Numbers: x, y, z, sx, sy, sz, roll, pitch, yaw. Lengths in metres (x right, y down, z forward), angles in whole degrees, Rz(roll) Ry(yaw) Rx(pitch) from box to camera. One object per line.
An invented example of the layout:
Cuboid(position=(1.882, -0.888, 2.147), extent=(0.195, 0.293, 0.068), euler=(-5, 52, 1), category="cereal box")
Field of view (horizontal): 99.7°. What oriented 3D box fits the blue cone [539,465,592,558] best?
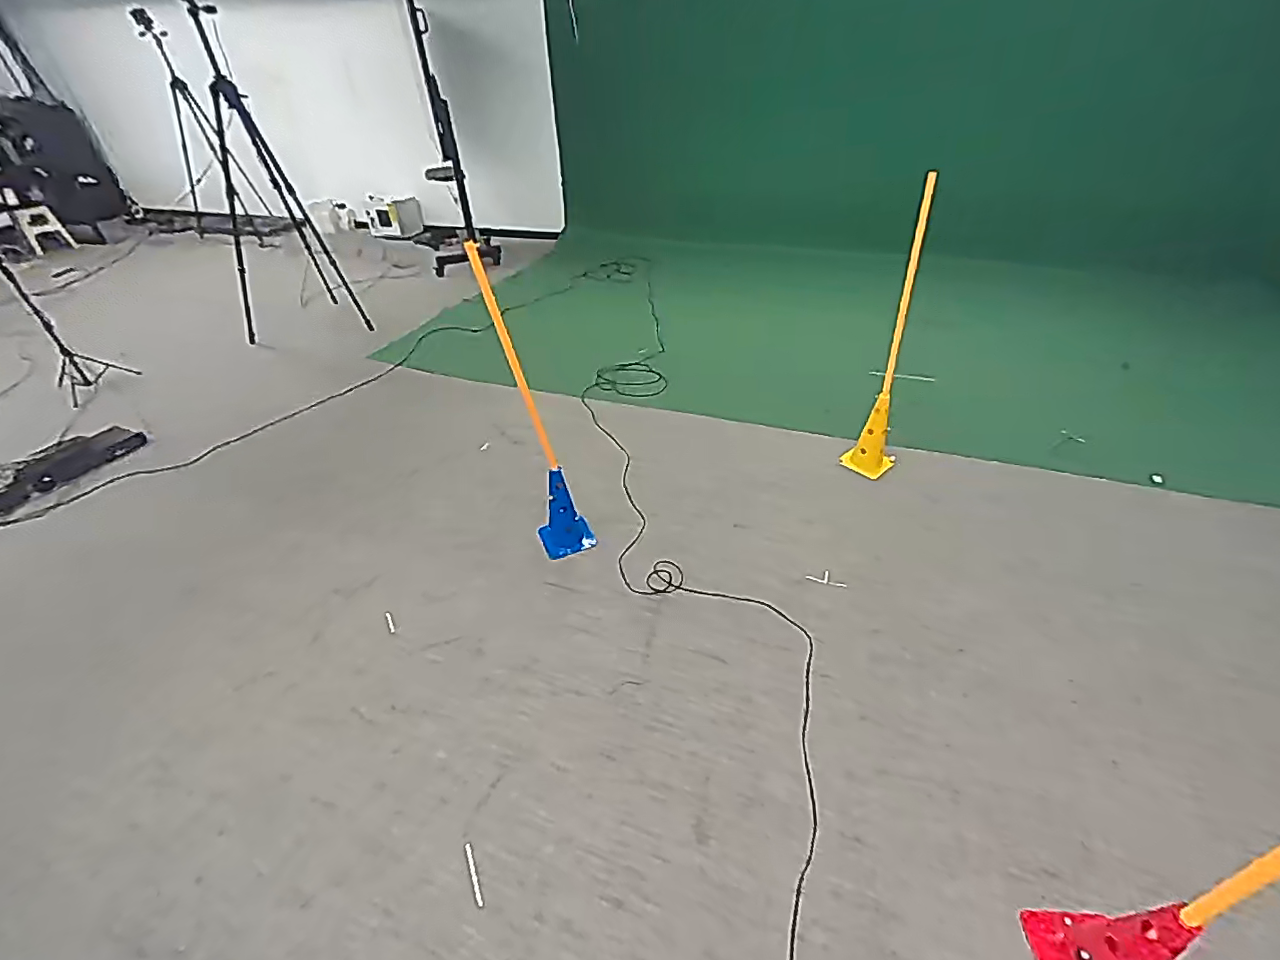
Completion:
Cuboid(position=(-0.310, 0.106, 2.090), extent=(0.193, 0.380, 0.192), euler=(-19, 42, -18), category="blue cone")
